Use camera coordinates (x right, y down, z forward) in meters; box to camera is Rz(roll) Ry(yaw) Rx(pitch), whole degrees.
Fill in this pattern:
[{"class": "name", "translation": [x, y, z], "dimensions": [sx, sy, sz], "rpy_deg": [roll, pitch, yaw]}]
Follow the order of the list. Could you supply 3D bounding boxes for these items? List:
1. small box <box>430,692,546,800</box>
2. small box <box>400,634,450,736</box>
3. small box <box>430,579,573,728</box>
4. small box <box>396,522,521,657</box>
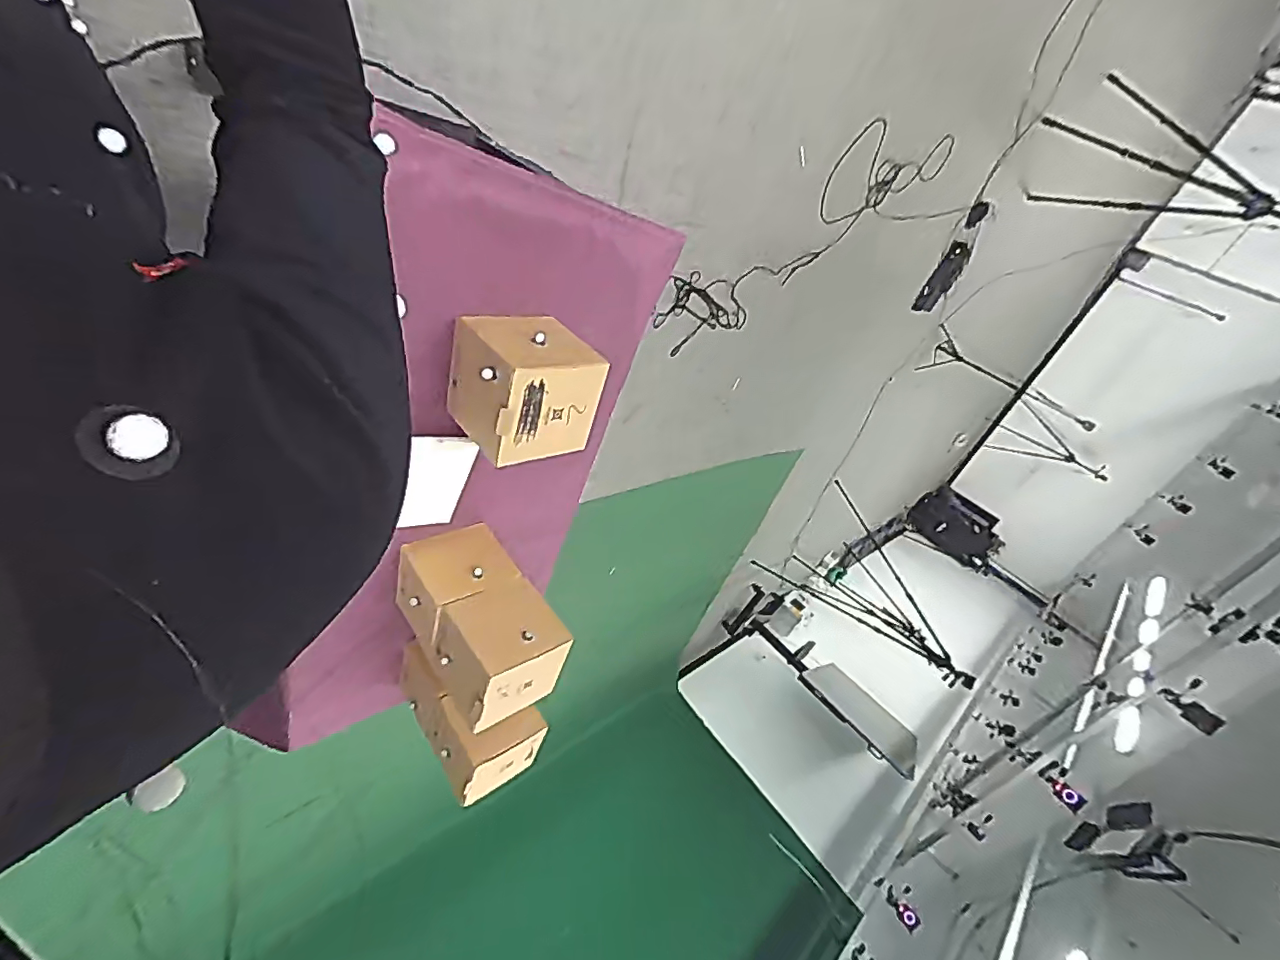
[{"class": "small box", "translation": [-0.339, 0.548, 1.188], "dimensions": [0.179, 0.176, 0.168], "rpy_deg": [-12, 136, -44]}, {"class": "small box", "translation": [-0.443, 0.454, 1.273], "dimensions": [0.179, 0.176, 0.168], "rpy_deg": [-12, 136, -45]}, {"class": "small box", "translation": [-0.260, 0.310, 1.003], "dimensions": [0.179, 0.176, 0.168], "rpy_deg": [-12, 136, -45]}, {"class": "small box", "translation": [-0.368, 0.210, 1.079], "dimensions": [0.179, 0.176, 0.168], "rpy_deg": [-16, 138, -43]}]
